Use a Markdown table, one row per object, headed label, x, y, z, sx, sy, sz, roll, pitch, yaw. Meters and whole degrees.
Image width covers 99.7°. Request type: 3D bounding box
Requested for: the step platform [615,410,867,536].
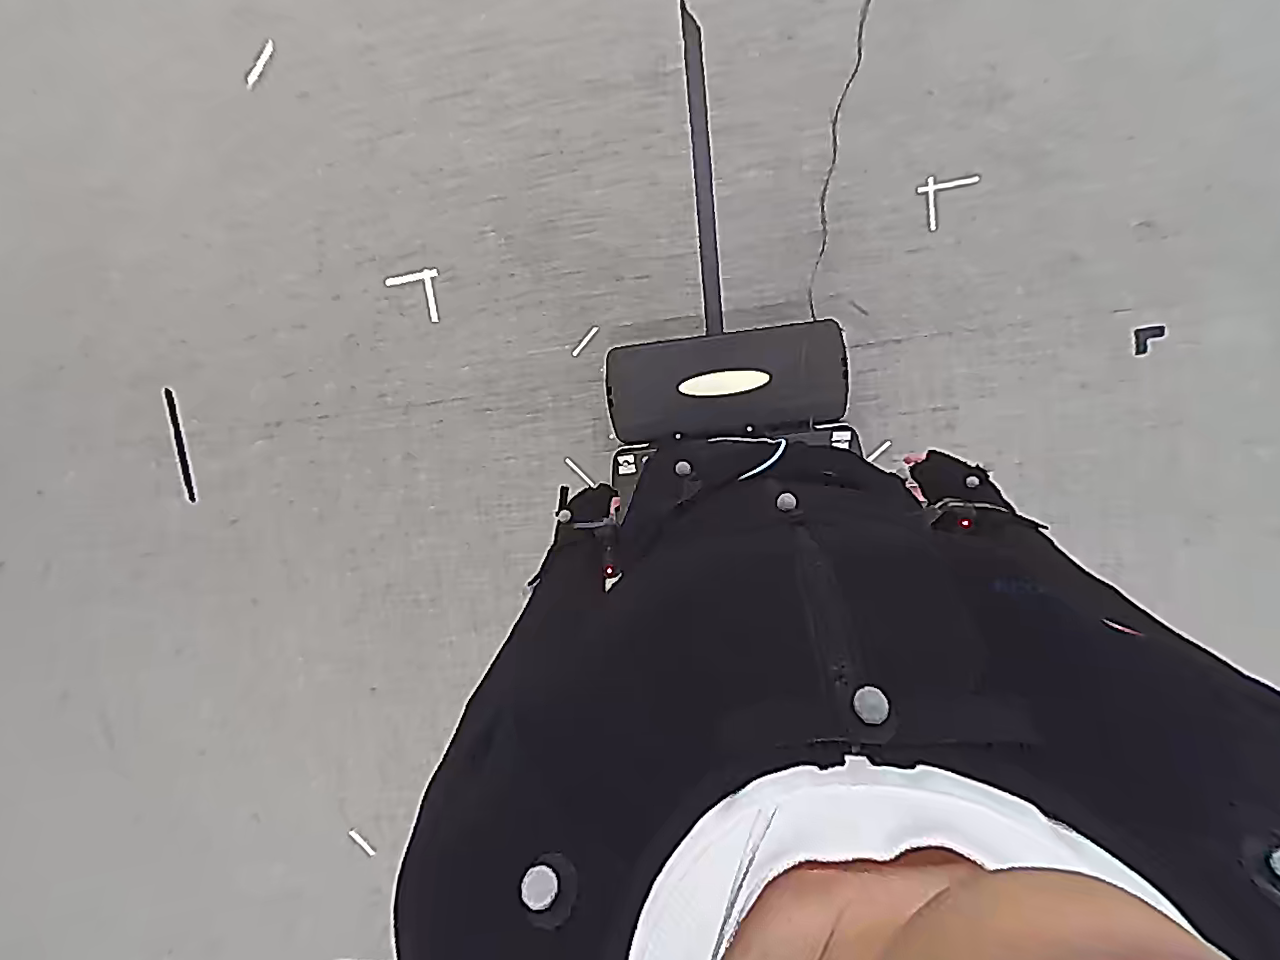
| label | x | y | z | sx | sy | sz | roll | pitch | yaw |
| --- | --- | --- | --- | --- | --- | --- | --- | --- | --- |
| step platform | 0.272 | -0.016 | 1.525 | 0.684 | 0.204 | 0.286 | -6 | 95 | 9 |
